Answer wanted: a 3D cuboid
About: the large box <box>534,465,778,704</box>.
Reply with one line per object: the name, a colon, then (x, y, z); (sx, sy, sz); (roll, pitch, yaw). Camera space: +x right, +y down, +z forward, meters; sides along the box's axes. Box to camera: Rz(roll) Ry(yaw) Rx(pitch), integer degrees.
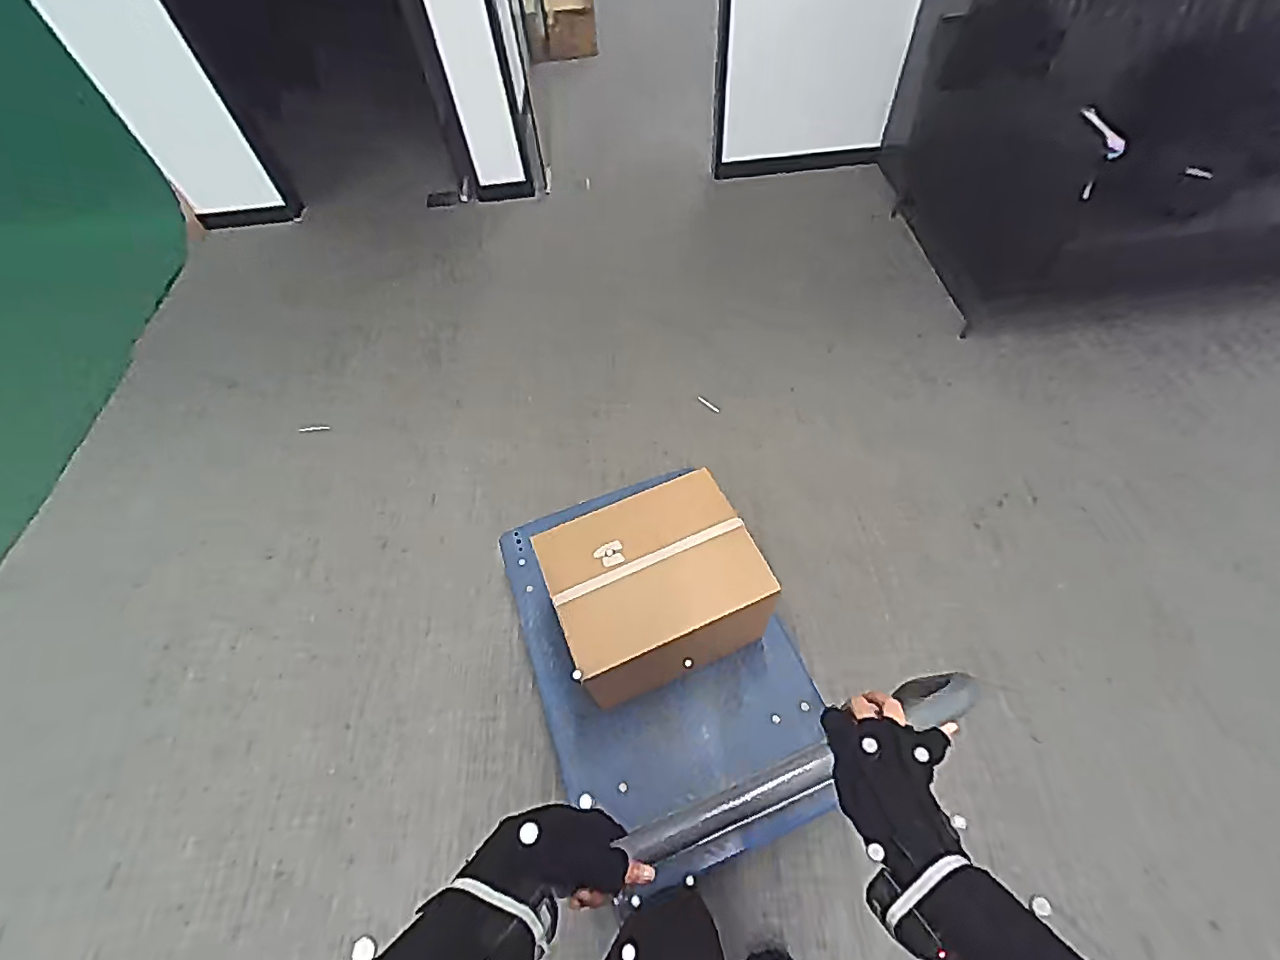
large box: (0.033, 0.235, 1.188); (0.408, 0.320, 0.320); (-23, 58, -10)
